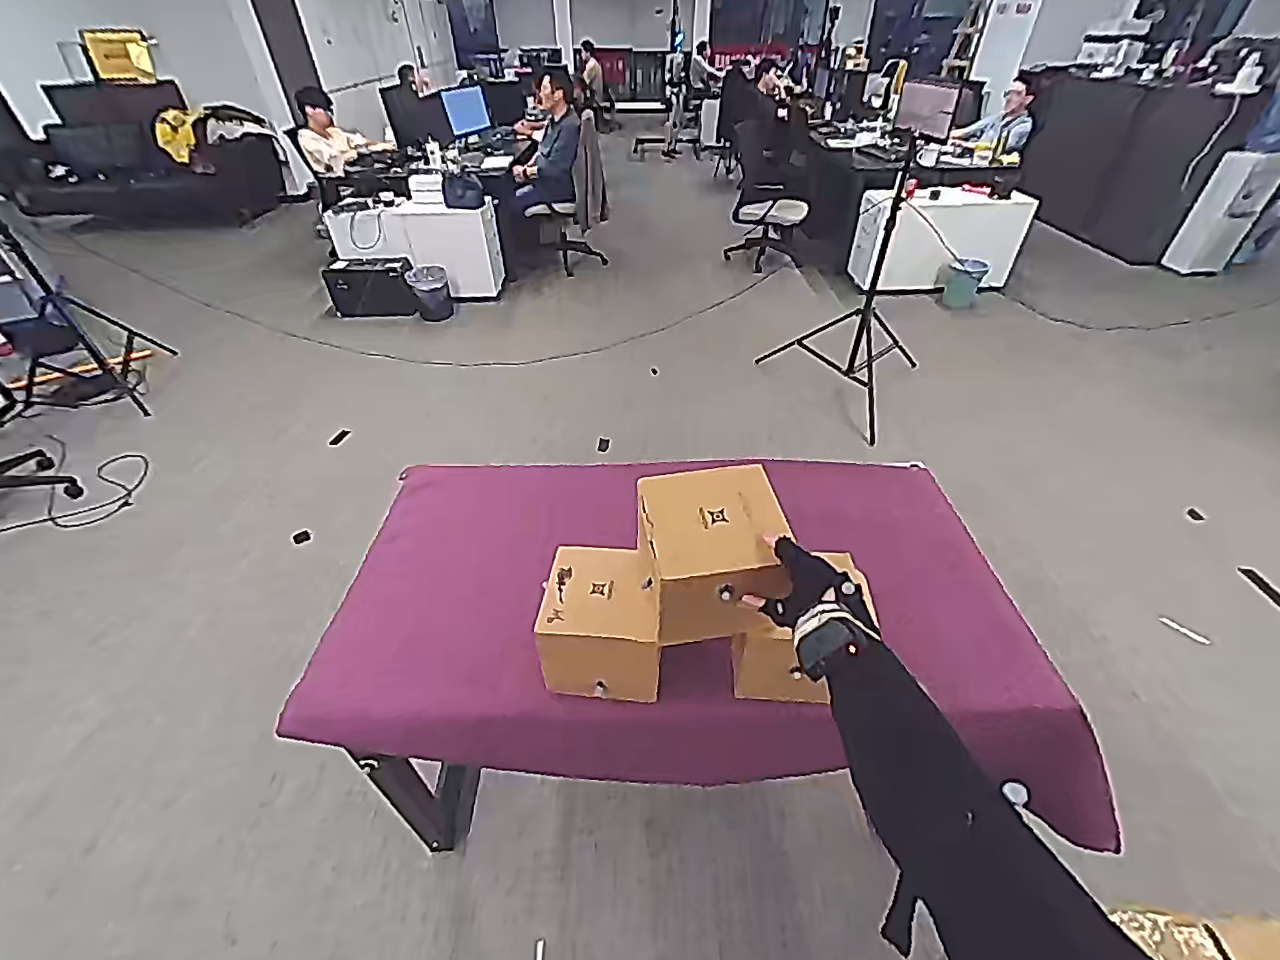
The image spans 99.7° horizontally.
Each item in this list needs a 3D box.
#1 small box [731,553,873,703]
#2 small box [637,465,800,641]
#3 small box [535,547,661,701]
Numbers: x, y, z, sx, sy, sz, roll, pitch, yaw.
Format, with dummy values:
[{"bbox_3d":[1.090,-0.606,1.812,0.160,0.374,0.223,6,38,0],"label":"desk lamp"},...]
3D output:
[{"bbox_3d":[0.239,0.231,0.848,0.179,0.176,0.168,2,39,5],"label":"small box"},{"bbox_3d":[0.094,0.103,0.742,0.179,0.176,0.168,-7,47,-7],"label":"small box"},{"bbox_3d":[-0.052,0.230,0.857,0.179,0.176,0.168,4,39,5],"label":"small box"}]
